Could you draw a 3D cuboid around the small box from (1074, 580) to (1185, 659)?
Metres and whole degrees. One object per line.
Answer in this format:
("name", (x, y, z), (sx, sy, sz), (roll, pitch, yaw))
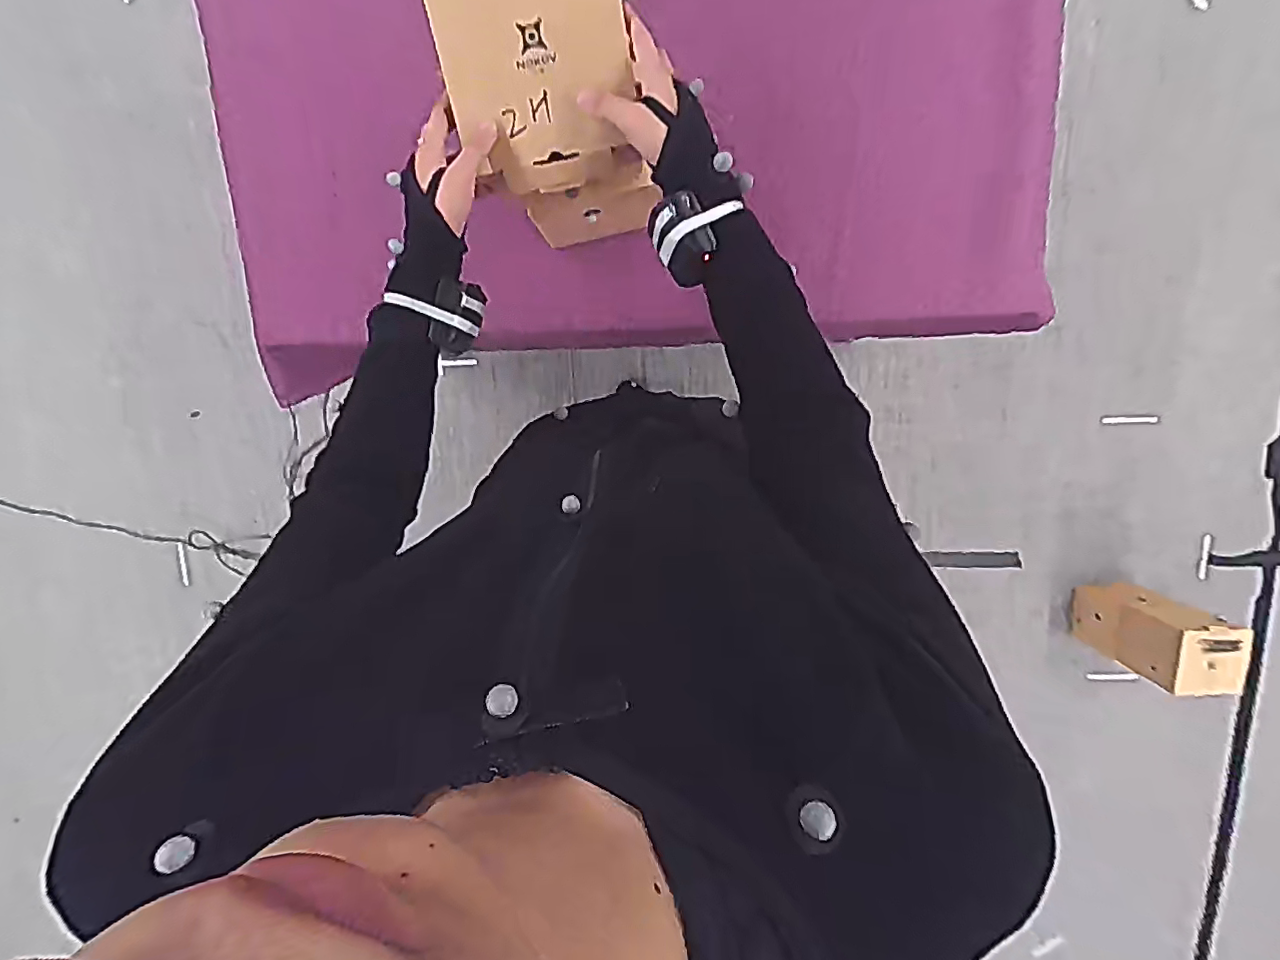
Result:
("small box", (1.404, 0.399, 1.562), (0.179, 0.176, 0.168), (-5, 100, 2))

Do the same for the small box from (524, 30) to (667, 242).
("small box", (-0.065, -0.432, 0.714), (0.179, 0.176, 0.168), (-12, 100, 3))

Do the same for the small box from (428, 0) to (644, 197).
("small box", (-0.092, -0.401, 0.537), (0.168, 0.176, 0.179), (-9, 110, 3))
